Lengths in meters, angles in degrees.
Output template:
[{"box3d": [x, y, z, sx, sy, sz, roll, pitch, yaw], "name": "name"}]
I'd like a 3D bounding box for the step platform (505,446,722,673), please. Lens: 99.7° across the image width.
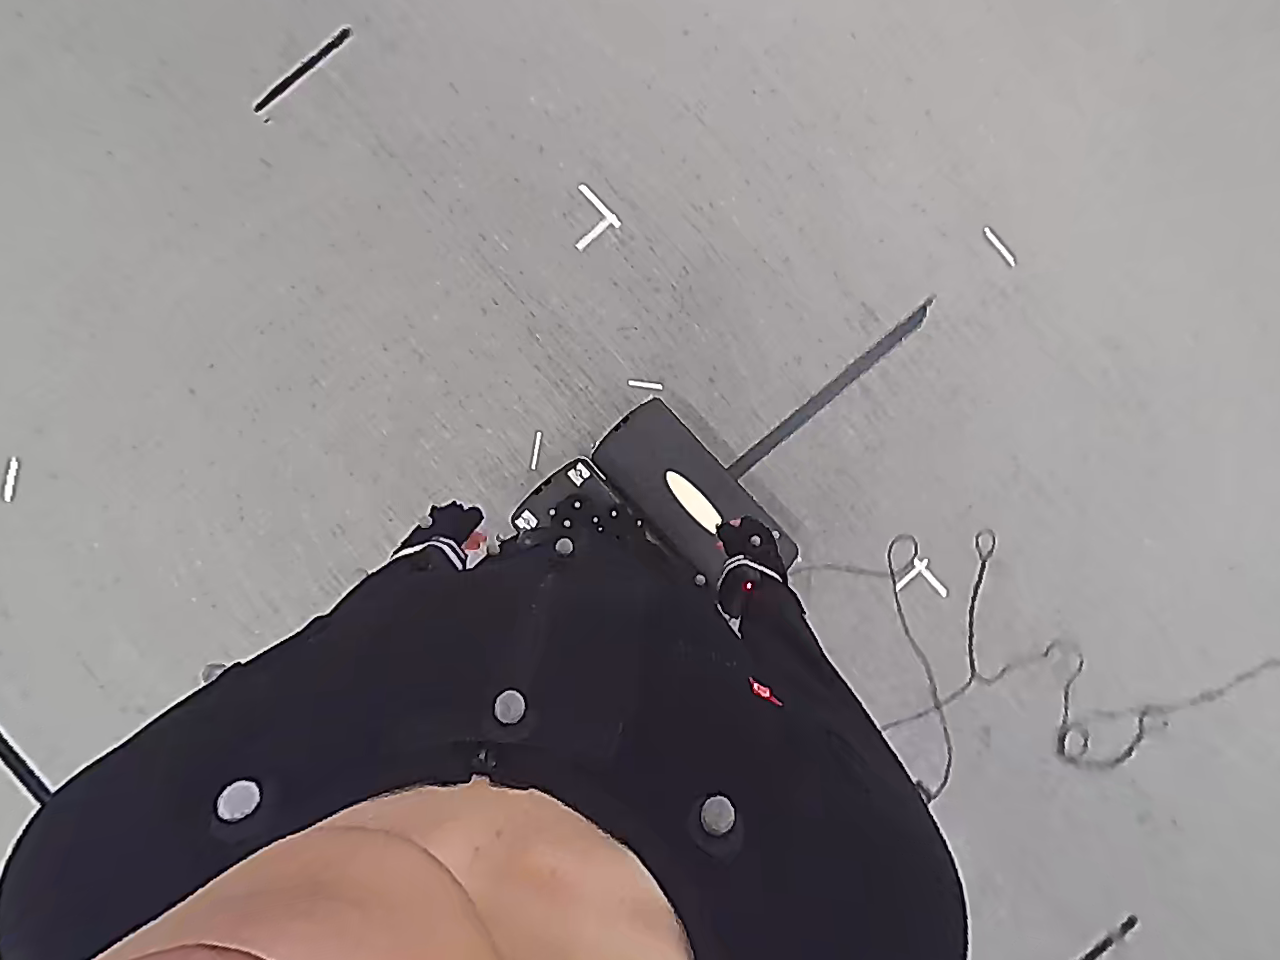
[{"box3d": [-0.076, 0.224, 1.581, 0.286, 0.204, 0.684, -43, 89, -2], "name": "step platform"}]
